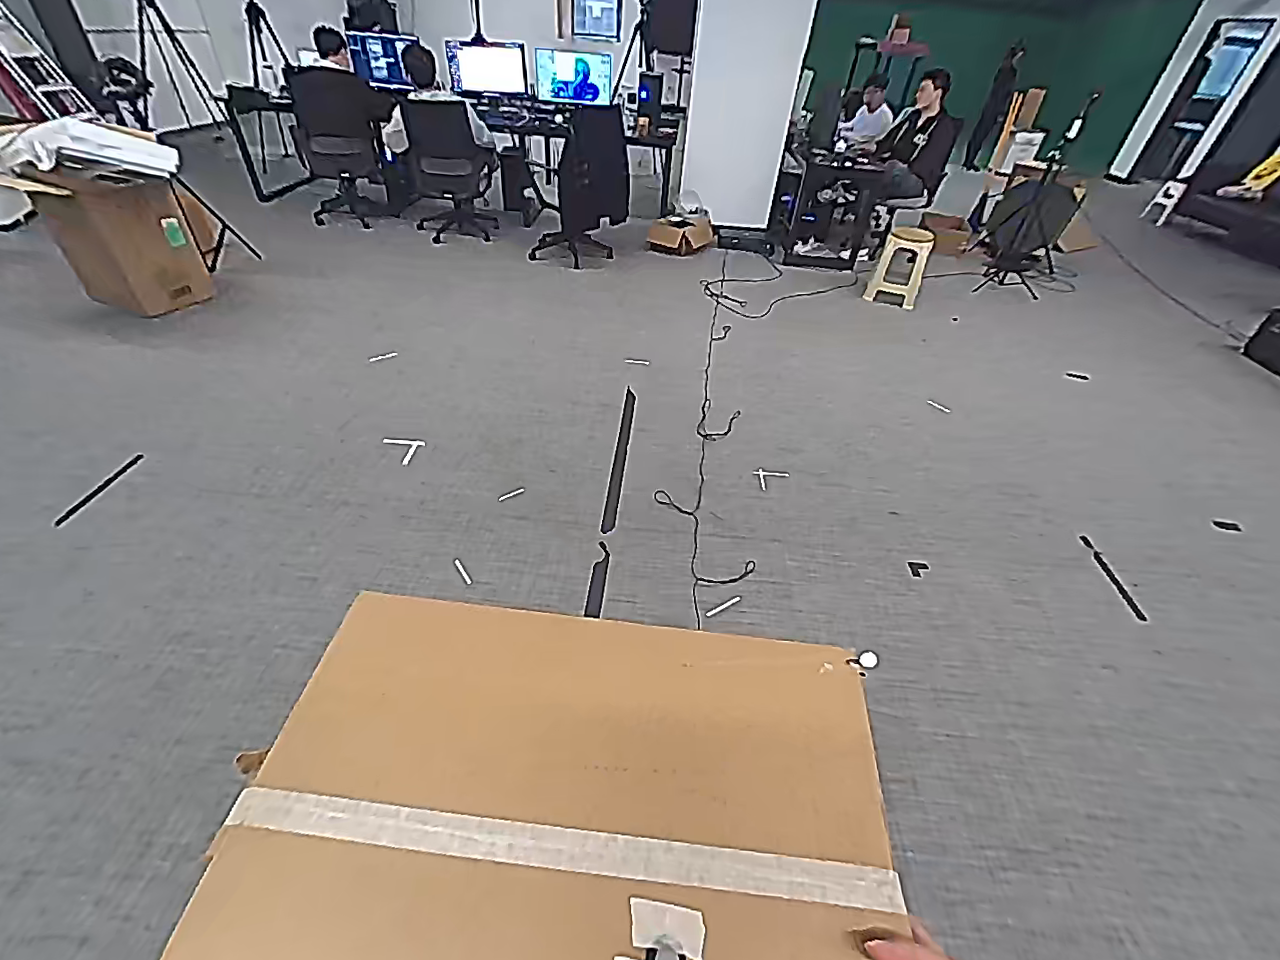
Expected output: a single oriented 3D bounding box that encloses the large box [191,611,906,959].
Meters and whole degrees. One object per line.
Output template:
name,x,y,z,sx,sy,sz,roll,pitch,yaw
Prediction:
large box,-0.050,0.338,0.441,0.408,0.320,0.320,6,47,2
